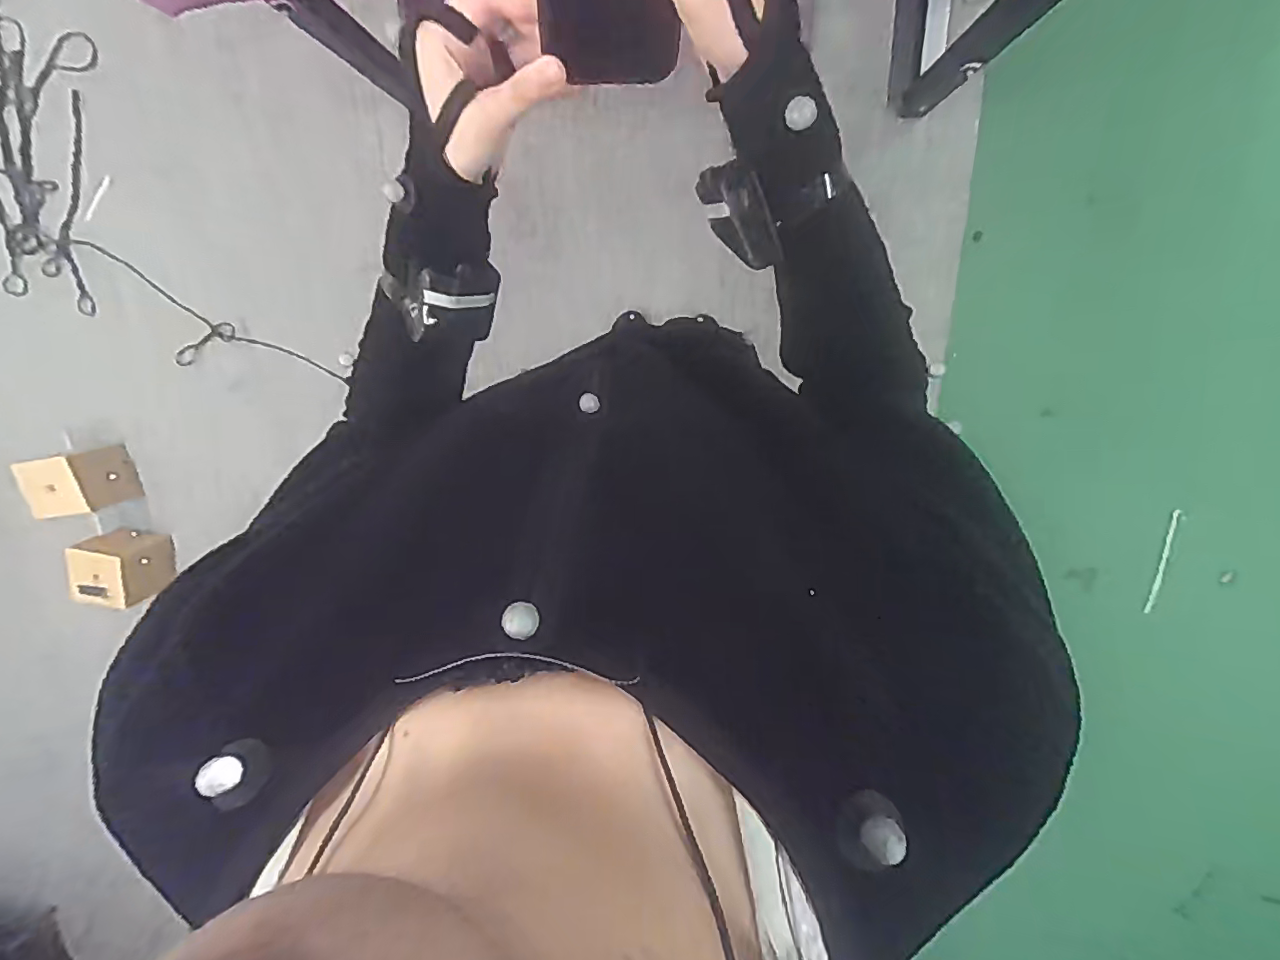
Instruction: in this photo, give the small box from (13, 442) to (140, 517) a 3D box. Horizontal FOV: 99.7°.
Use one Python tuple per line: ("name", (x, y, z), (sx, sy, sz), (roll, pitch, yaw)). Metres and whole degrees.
("small box", (-1.613, -0.006, 1.566), (0.179, 0.176, 0.168), (-6, 106, 6))
